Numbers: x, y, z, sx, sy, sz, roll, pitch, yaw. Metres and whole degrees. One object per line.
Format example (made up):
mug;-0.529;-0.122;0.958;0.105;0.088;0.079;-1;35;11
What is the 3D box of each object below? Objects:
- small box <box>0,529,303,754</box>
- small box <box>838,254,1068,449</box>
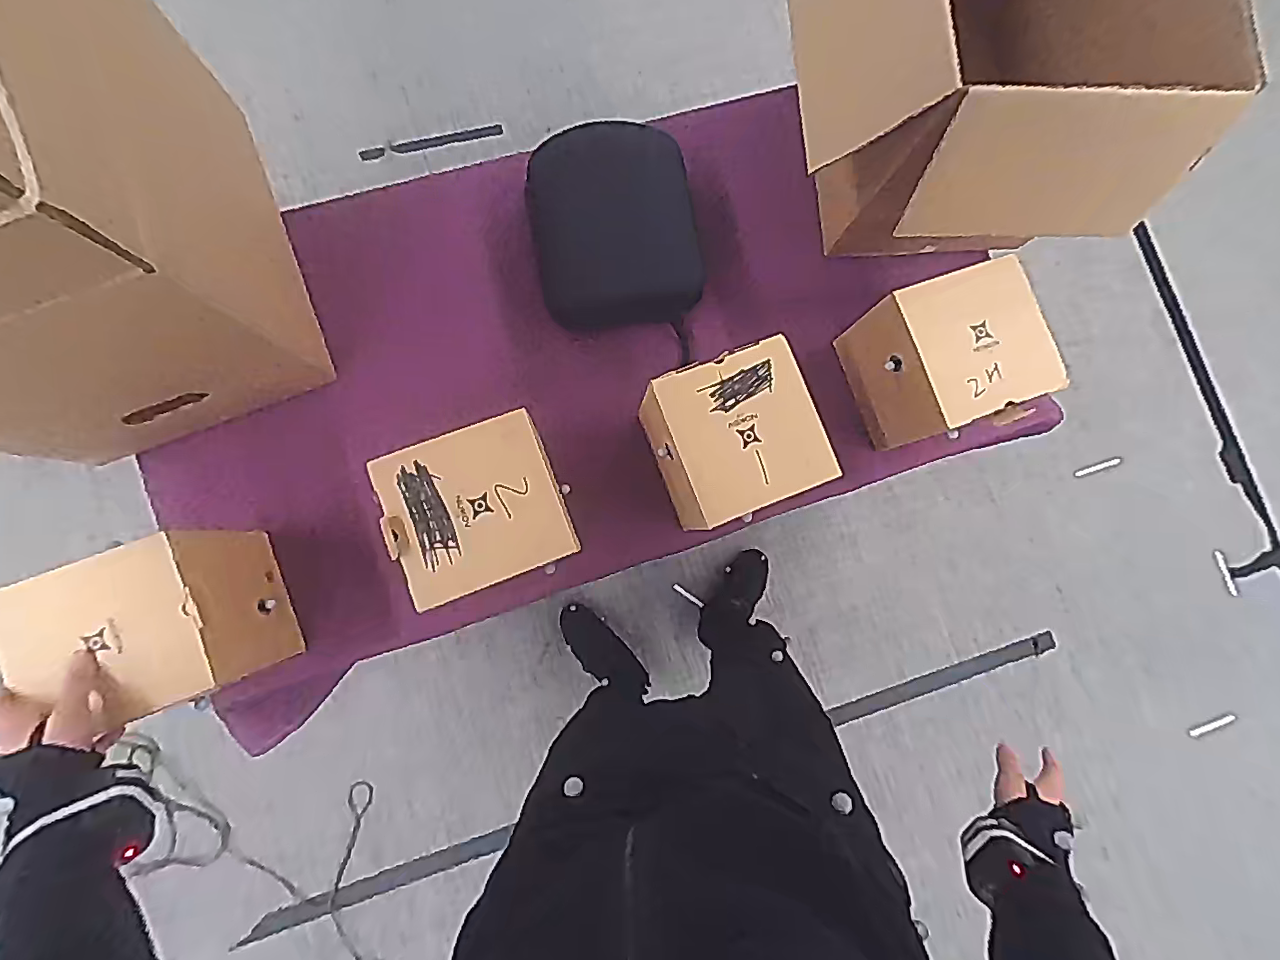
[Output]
small box;-0.524;0.163;0.601;0.179;0.176;0.168;-21;86;-8
small box;0.389;-0.156;0.707;0.168;0.176;0.179;-19;86;-5
